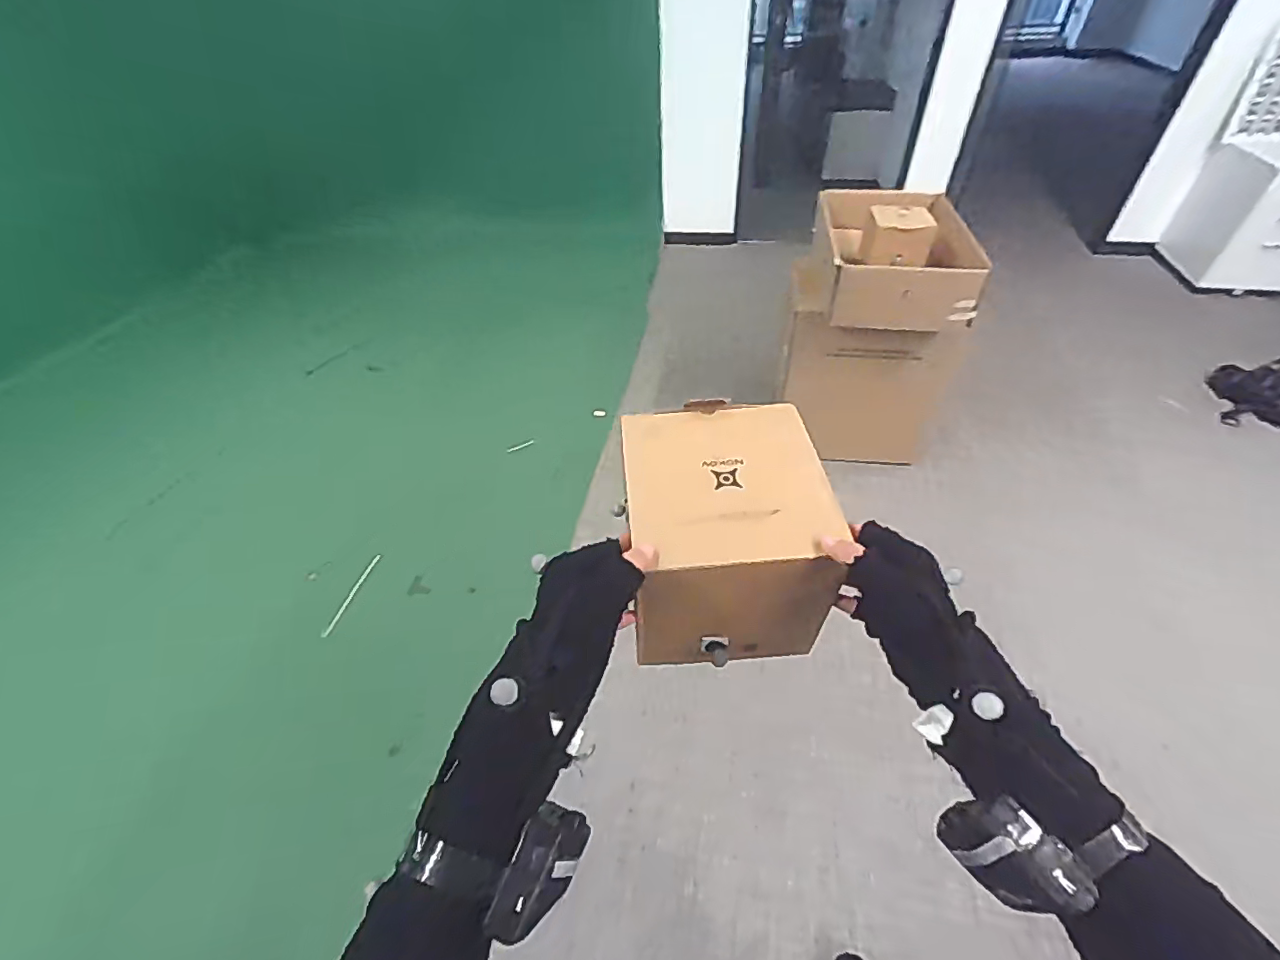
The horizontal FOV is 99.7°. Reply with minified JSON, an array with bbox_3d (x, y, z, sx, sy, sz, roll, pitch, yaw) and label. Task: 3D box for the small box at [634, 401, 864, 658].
[{"bbox_3d":[0.080,0.047,0.510,0.168,0.176,0.179,-4,49,-2],"label":"small box"}]
